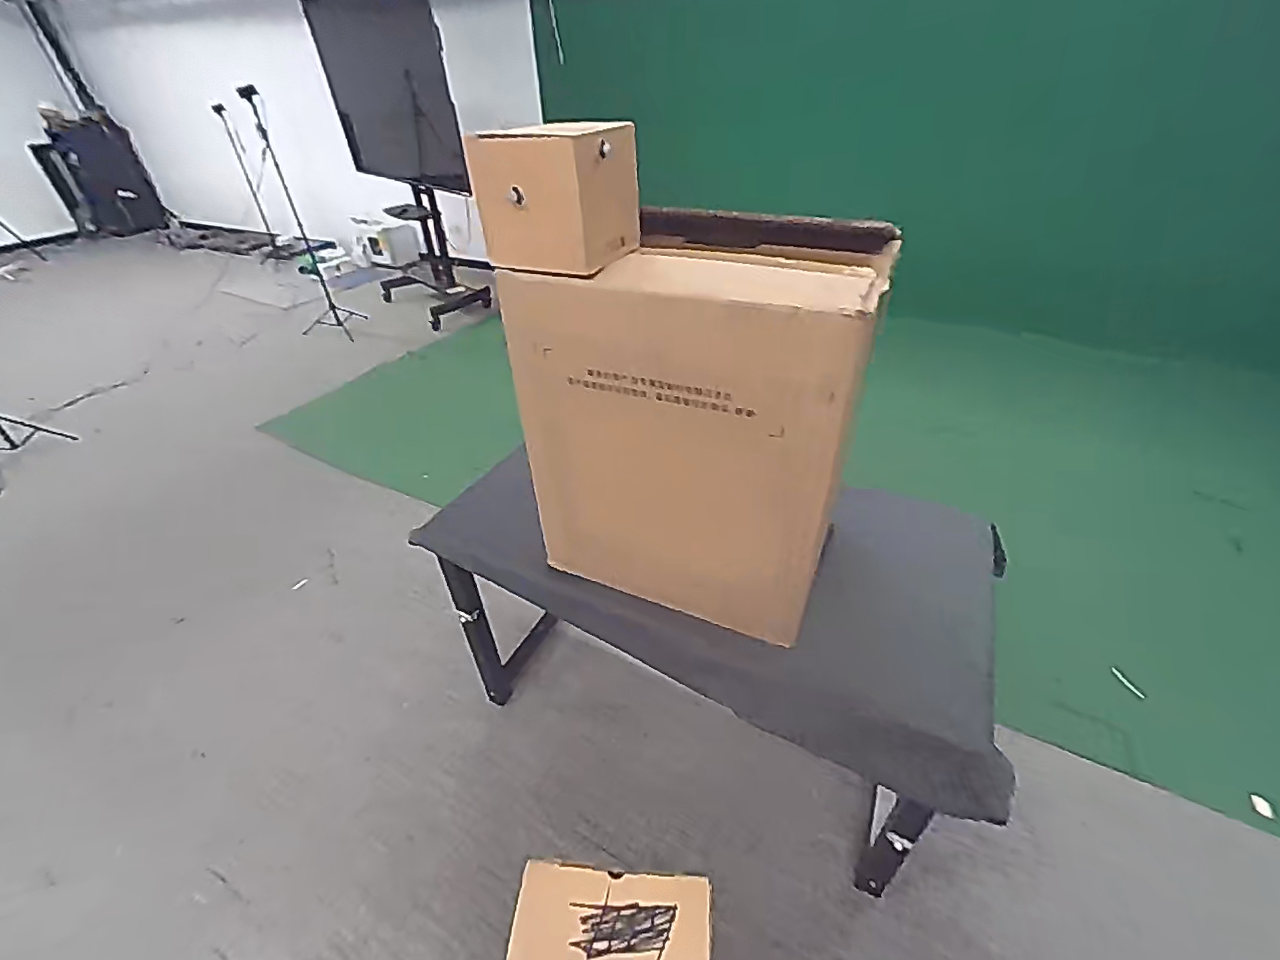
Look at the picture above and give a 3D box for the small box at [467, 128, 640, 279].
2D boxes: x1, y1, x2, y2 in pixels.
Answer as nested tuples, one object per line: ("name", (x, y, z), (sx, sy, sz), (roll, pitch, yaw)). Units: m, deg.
("small box", (-0.113, -0.400, 0.782), (0.179, 0.176, 0.168), (14, 41, 23))
